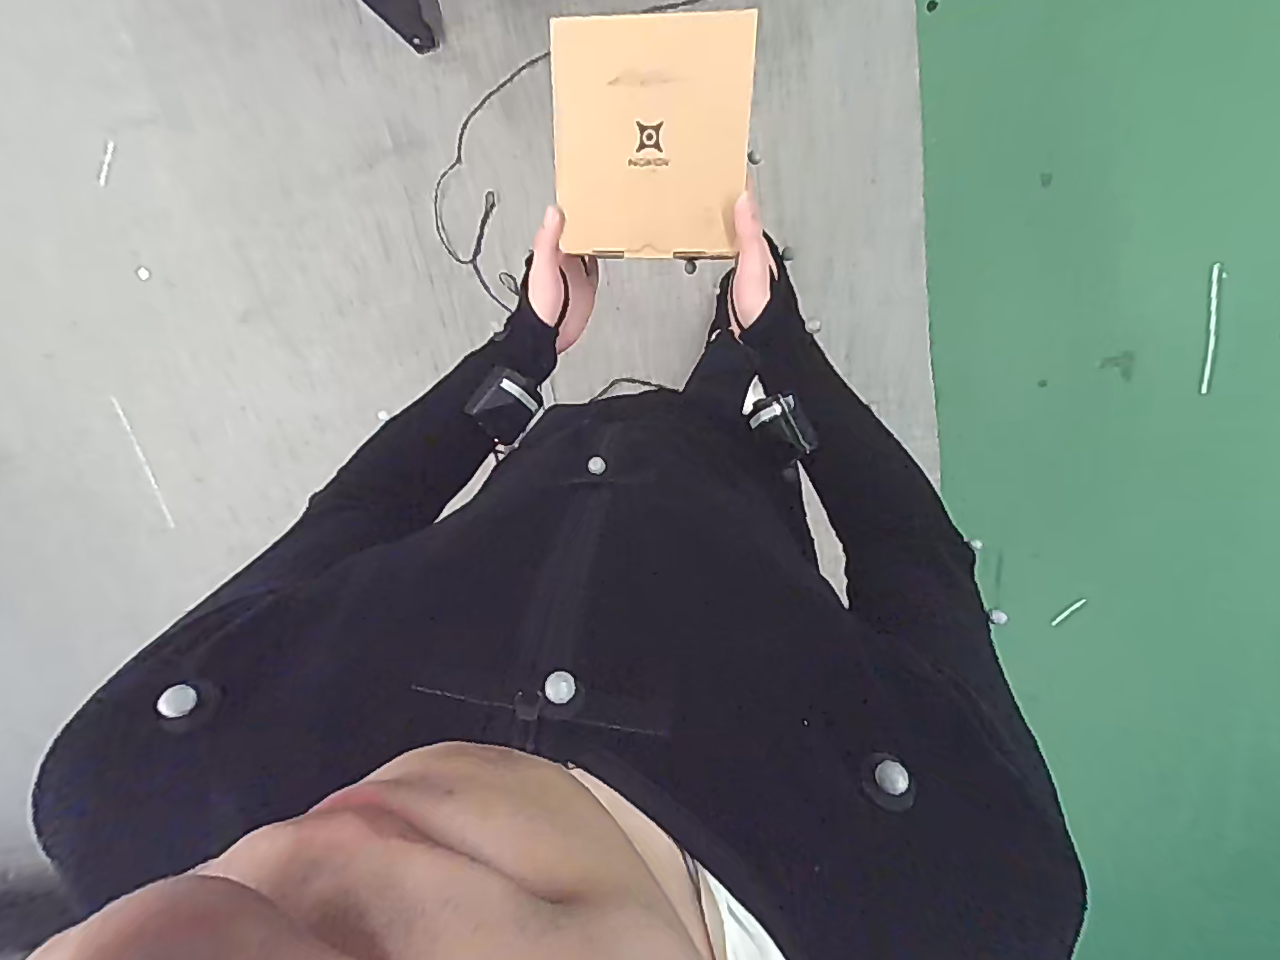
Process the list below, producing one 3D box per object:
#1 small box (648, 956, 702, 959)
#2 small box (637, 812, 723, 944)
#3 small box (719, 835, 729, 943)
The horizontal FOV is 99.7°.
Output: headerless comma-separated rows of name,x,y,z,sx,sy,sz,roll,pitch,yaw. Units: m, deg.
small box,0.094,1.115,1.096,0.168,0.176,0.179,-8,103,10
small box,0.091,0.865,1.188,0.168,0.176,0.179,-5,106,9
small box,0.144,1.058,1.417,0.168,0.176,0.179,-6,103,10
